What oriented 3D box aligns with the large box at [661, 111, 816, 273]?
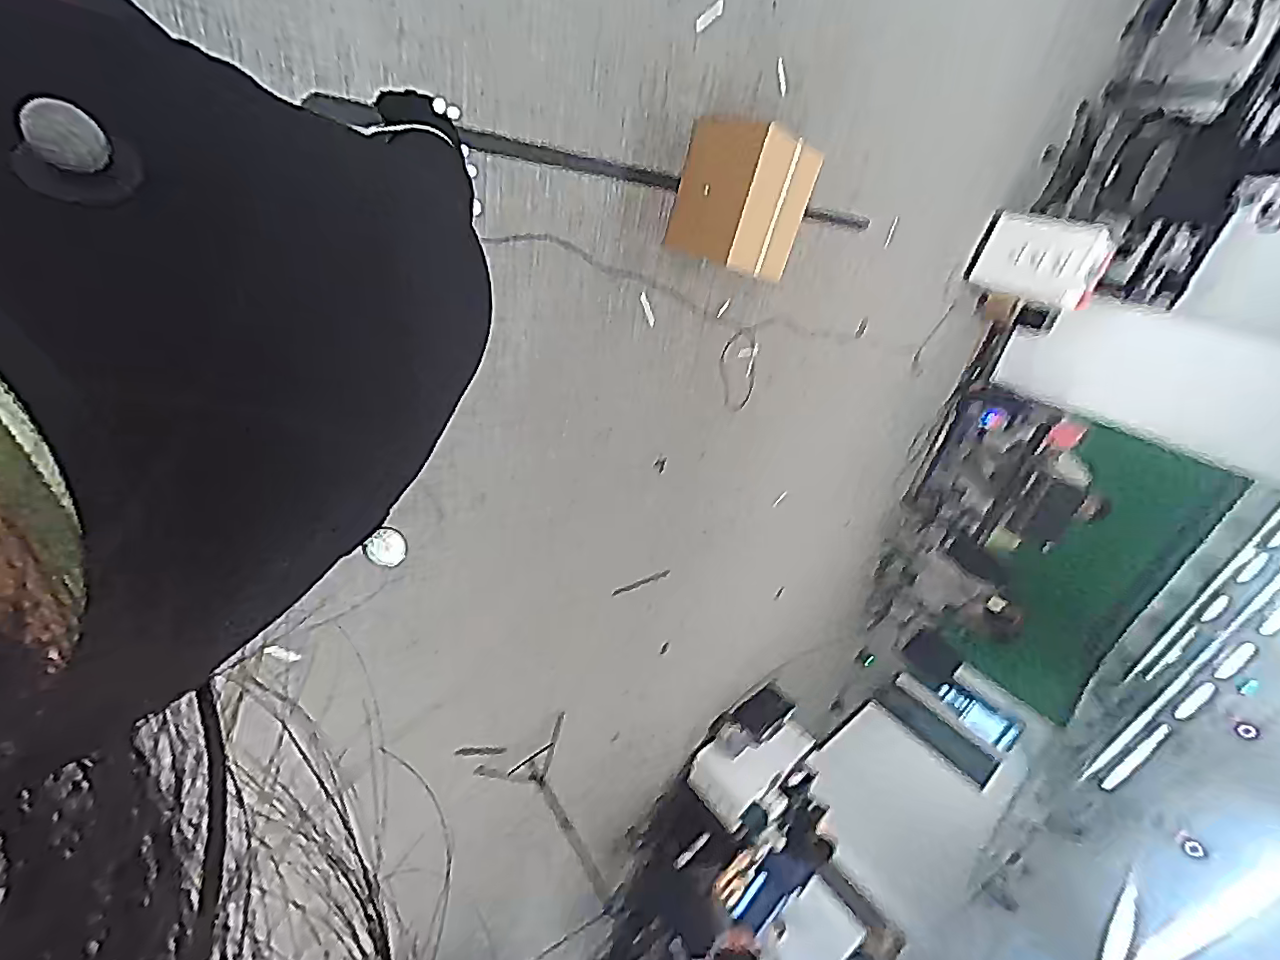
[{"bbox_3d":[0.321,-0.961,1.824,0.320,0.320,0.408,-8,123,-43],"label":"large box"}]
